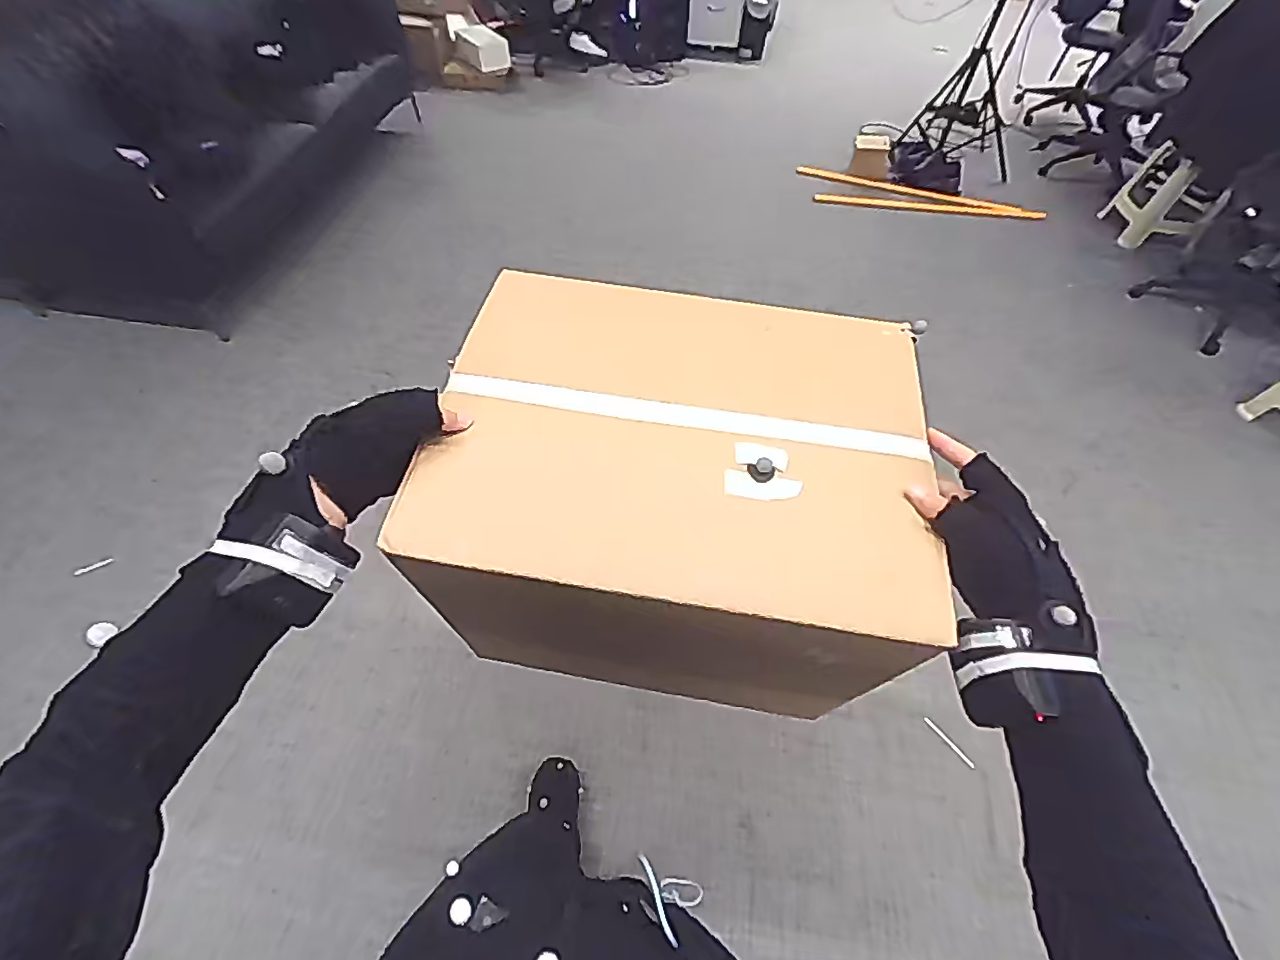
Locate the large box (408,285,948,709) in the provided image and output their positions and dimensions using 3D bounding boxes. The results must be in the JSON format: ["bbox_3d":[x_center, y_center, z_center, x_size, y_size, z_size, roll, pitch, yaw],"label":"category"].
[{"bbox_3d":[0.037,0.033,0.592,0.408,0.320,0.320,9,58,3],"label":"large box"}]
